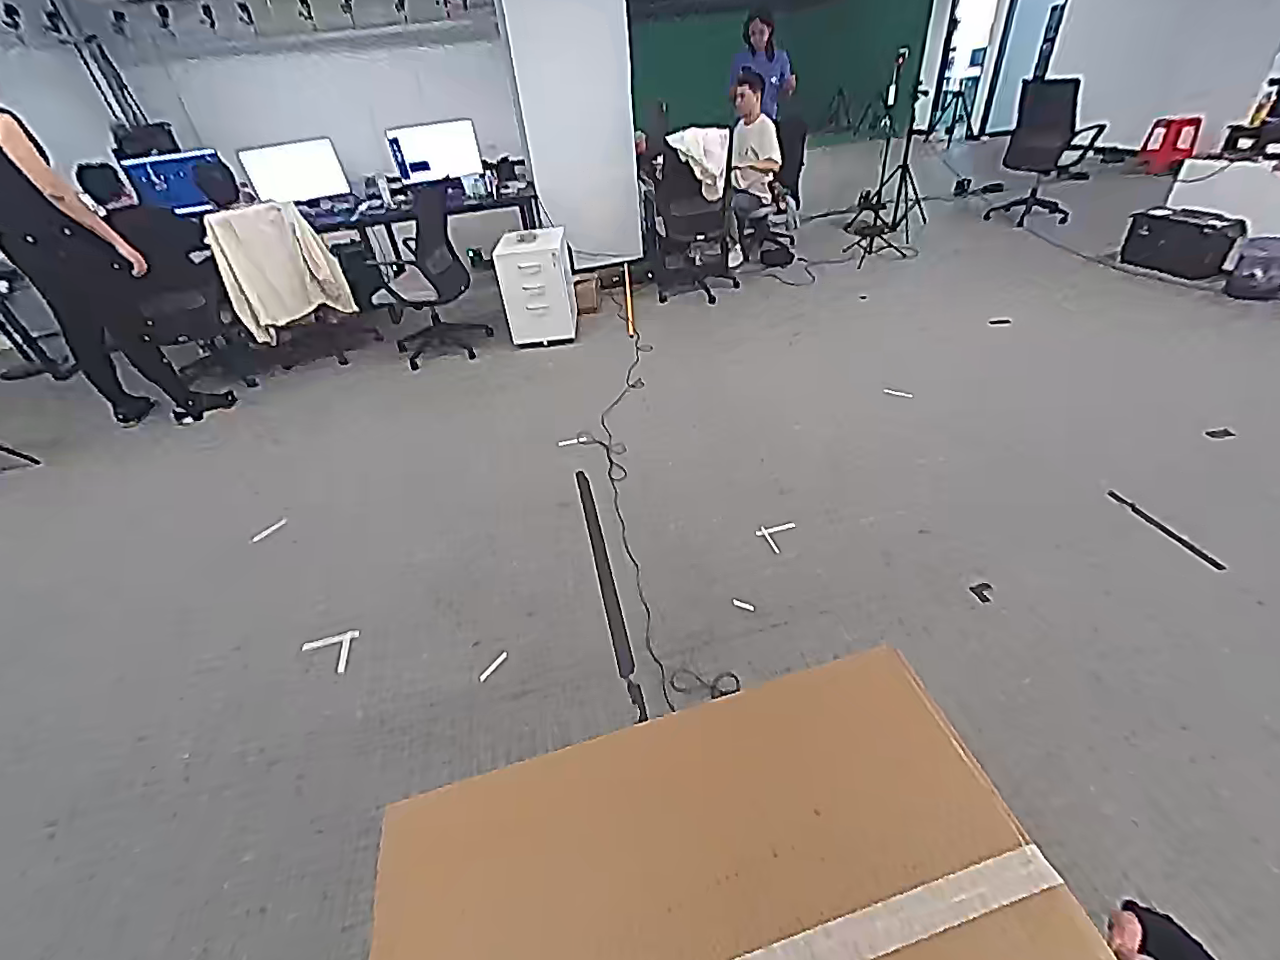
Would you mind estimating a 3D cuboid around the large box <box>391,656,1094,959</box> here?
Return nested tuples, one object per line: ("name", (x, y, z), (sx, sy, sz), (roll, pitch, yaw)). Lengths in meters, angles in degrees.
("large box", (0.072, 0.400, 0.407), (0.408, 0.320, 0.320), (-16, 41, -6))
